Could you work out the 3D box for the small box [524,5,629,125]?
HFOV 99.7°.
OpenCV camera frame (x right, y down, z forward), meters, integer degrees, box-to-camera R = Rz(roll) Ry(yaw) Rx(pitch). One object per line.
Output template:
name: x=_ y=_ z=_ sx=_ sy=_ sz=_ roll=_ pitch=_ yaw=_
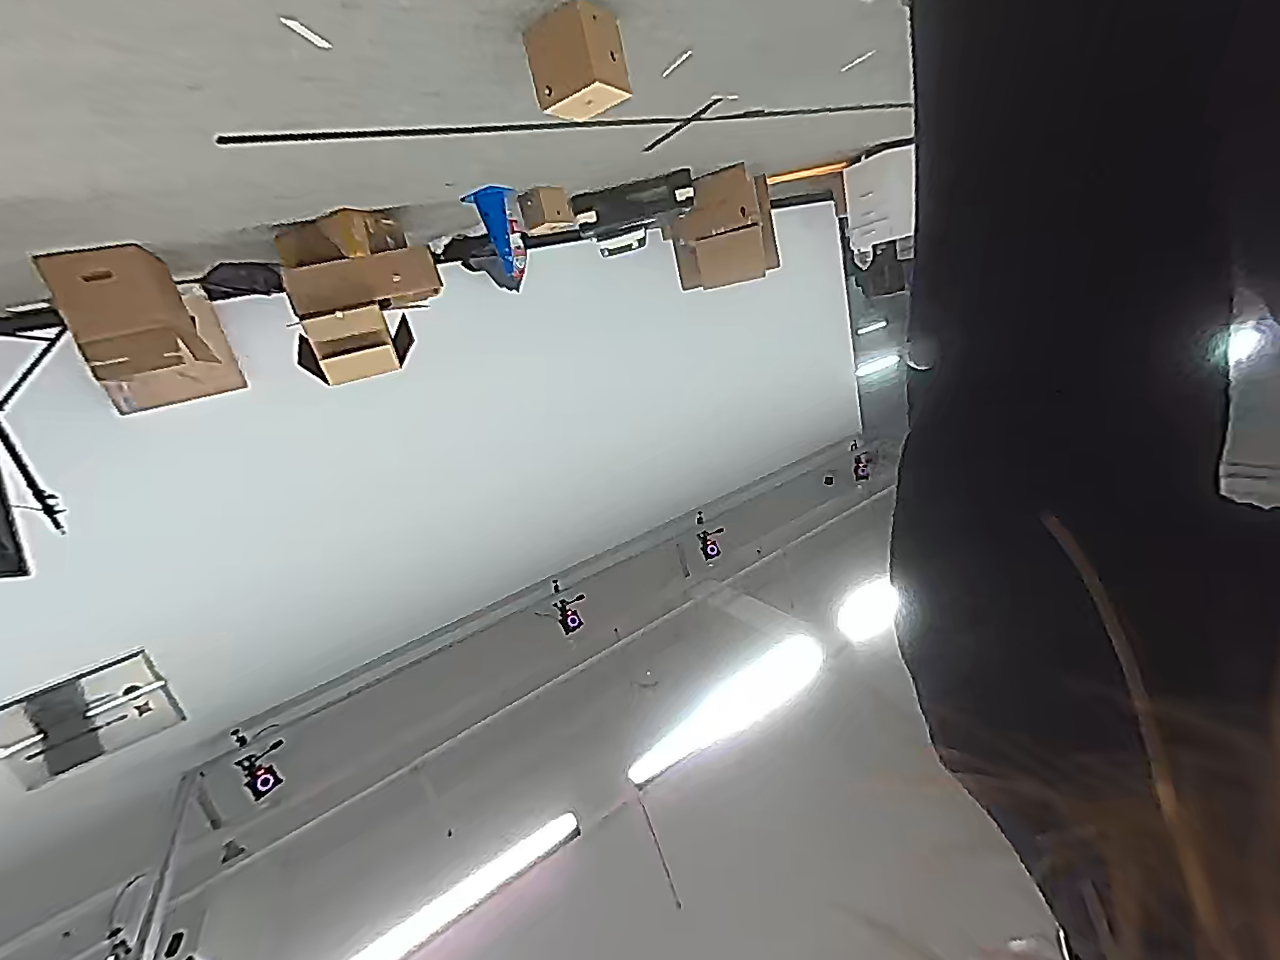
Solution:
small box: x=-0.155 y=-1.000 z=1.315 sx=0.179 sy=0.176 sz=0.168 roll=-2 pitch=-160 yaw=33
